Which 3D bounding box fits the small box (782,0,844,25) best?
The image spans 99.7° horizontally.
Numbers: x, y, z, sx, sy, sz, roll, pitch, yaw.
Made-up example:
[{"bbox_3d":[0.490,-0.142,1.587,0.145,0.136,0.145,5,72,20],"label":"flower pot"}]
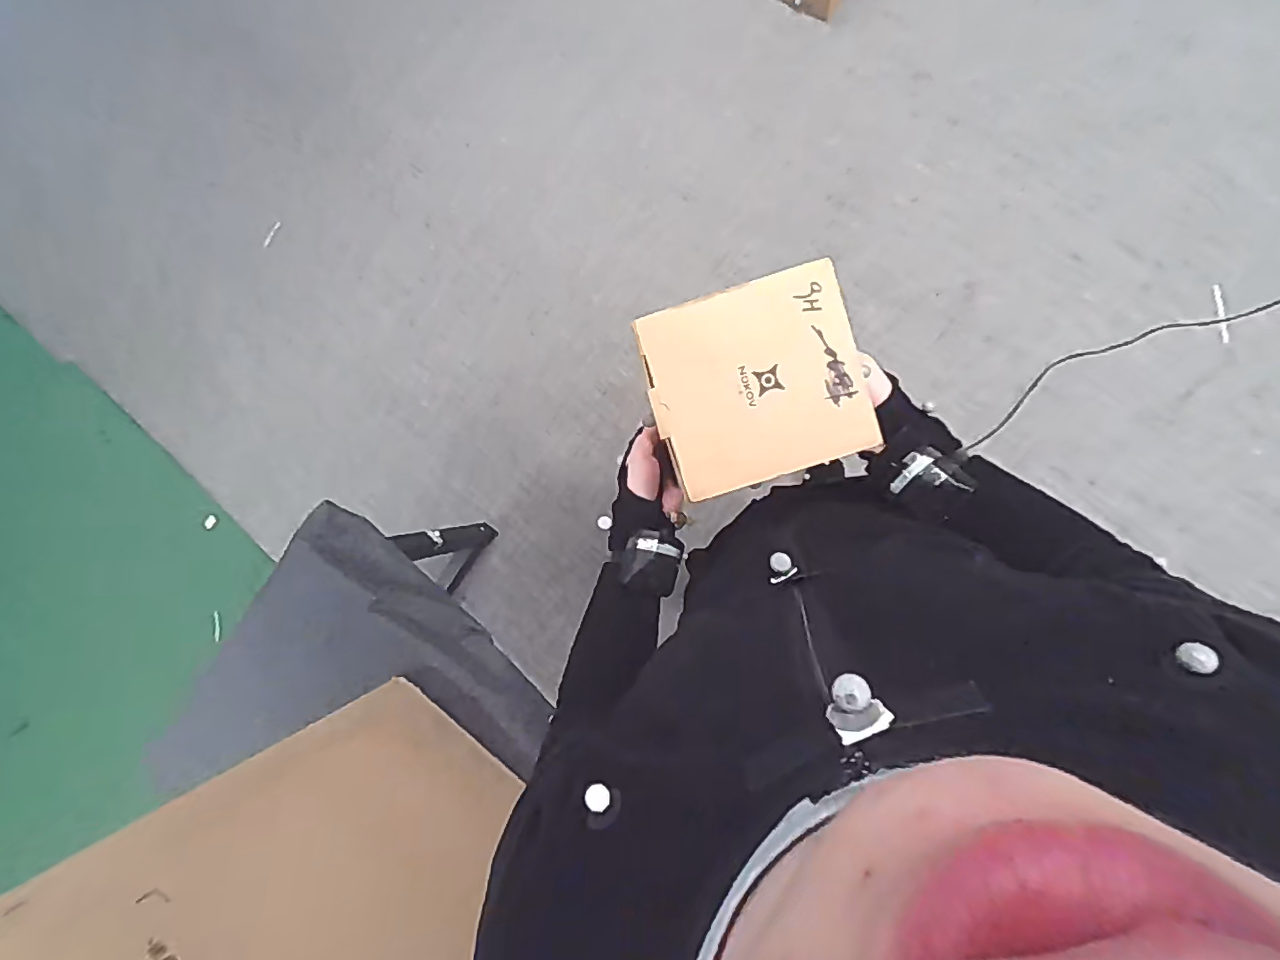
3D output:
[{"bbox_3d":[0.489,-1.387,1.440,0.168,0.176,0.179,35,98,12],"label":"small box"}]
